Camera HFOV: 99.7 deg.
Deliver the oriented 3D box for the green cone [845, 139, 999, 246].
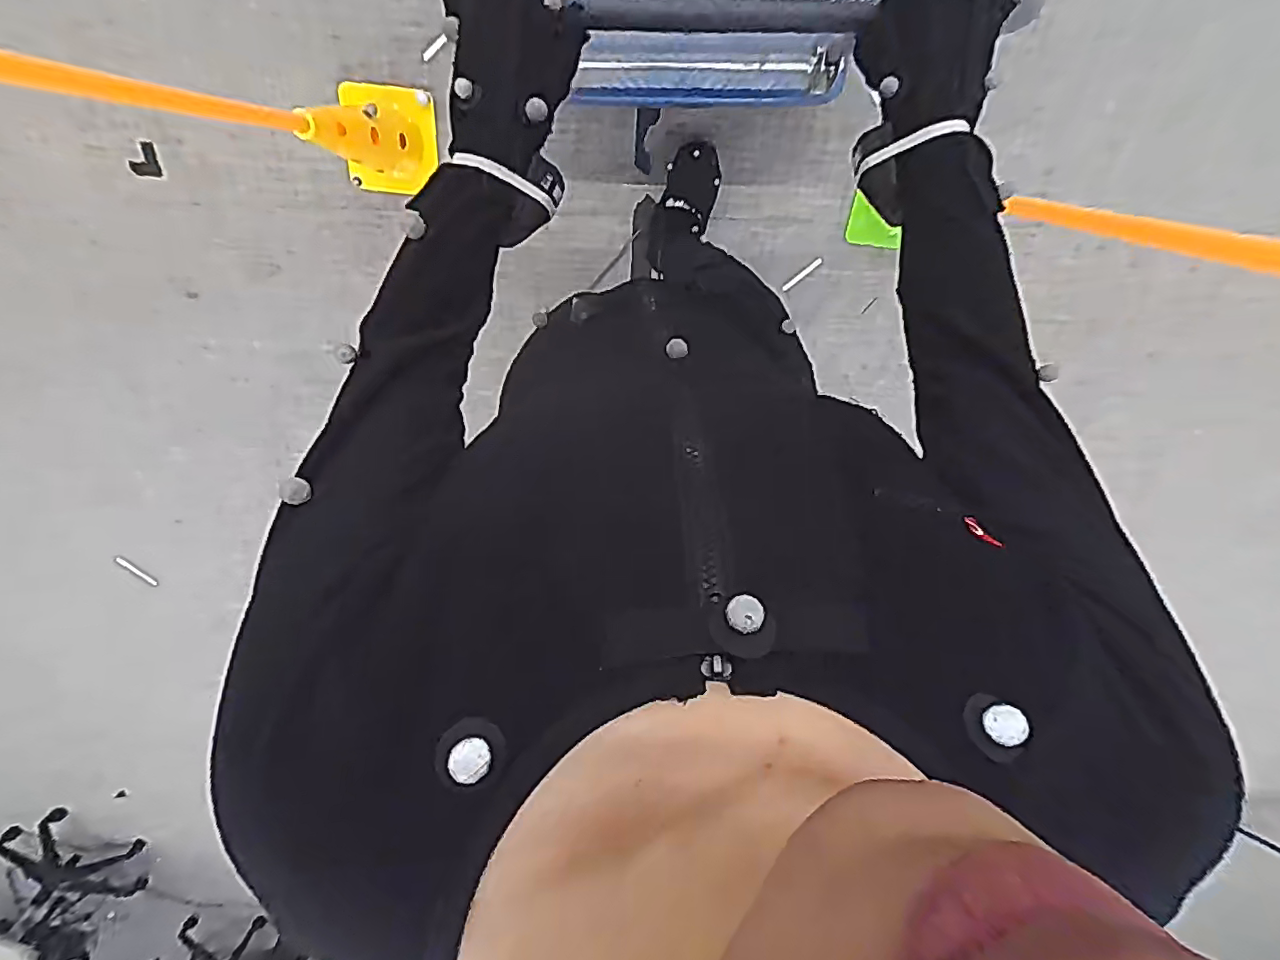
[{"bbox_3d":[0.580,-0.561,1.068,0.202,0.368,0.200,5,118,-3],"label":"green cone"}]
